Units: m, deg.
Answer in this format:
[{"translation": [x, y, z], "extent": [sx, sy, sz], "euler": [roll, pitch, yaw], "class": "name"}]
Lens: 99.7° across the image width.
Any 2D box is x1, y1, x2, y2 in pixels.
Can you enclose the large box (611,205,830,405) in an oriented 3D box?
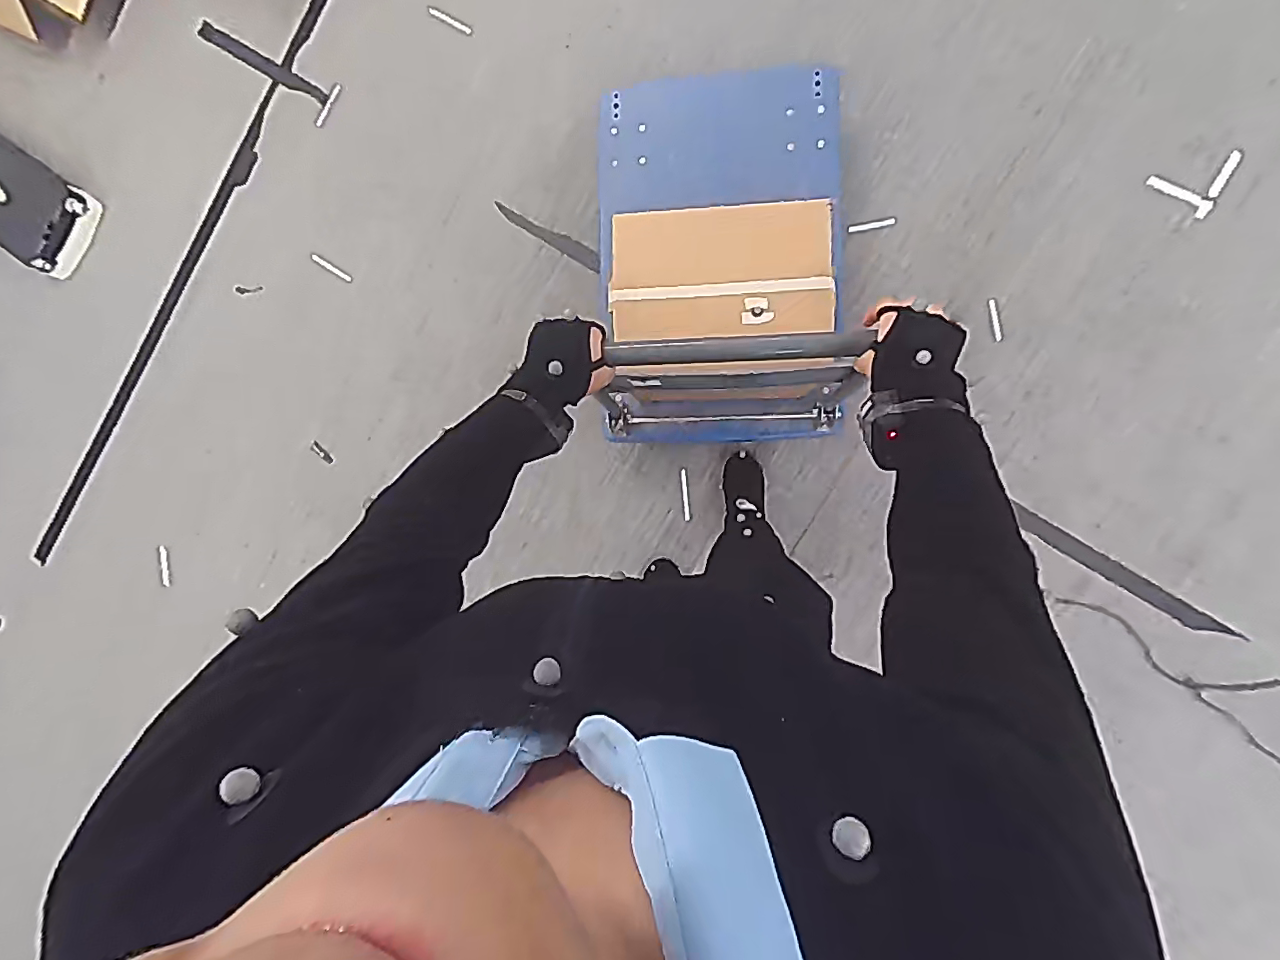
[{"translation": [0.160, -0.342, 1.152], "extent": [0.408, 0.320, 0.320], "euler": [-1, 90, 6], "class": "large box"}]
